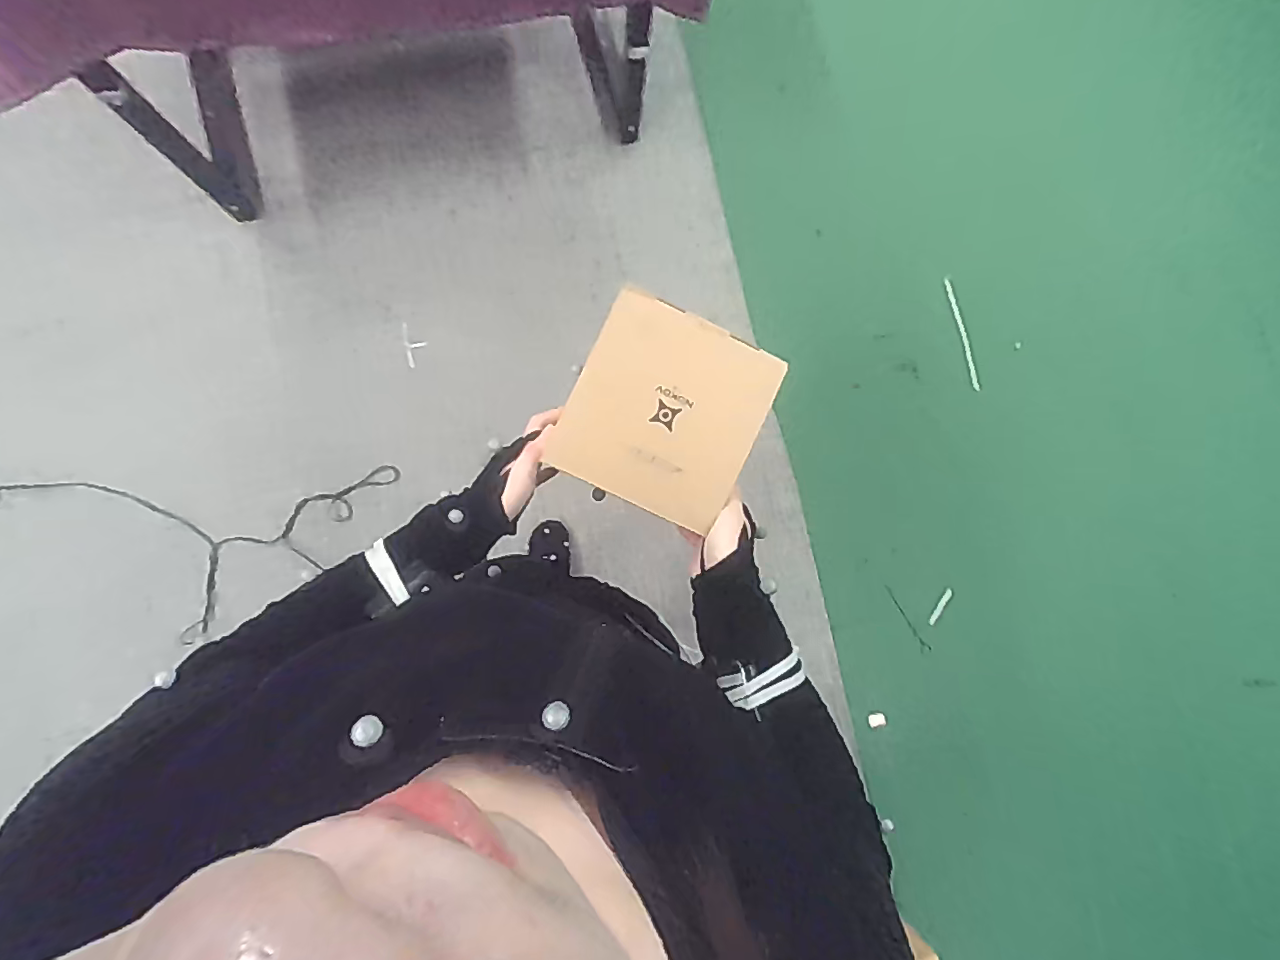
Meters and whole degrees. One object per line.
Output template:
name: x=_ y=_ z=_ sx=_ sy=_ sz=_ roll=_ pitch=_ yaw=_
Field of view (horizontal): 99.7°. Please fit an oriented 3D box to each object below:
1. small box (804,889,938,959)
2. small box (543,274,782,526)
small box: x=0.410 y=0.871 z=0.936 sx=0.168 sy=0.176 sz=0.179 roll=-14 pitch=85 yaw=-10
small box: x=0.014 y=-0.072 z=0.559 sx=0.168 sy=0.176 sz=0.179 roll=25 pitch=90 yaw=-5
